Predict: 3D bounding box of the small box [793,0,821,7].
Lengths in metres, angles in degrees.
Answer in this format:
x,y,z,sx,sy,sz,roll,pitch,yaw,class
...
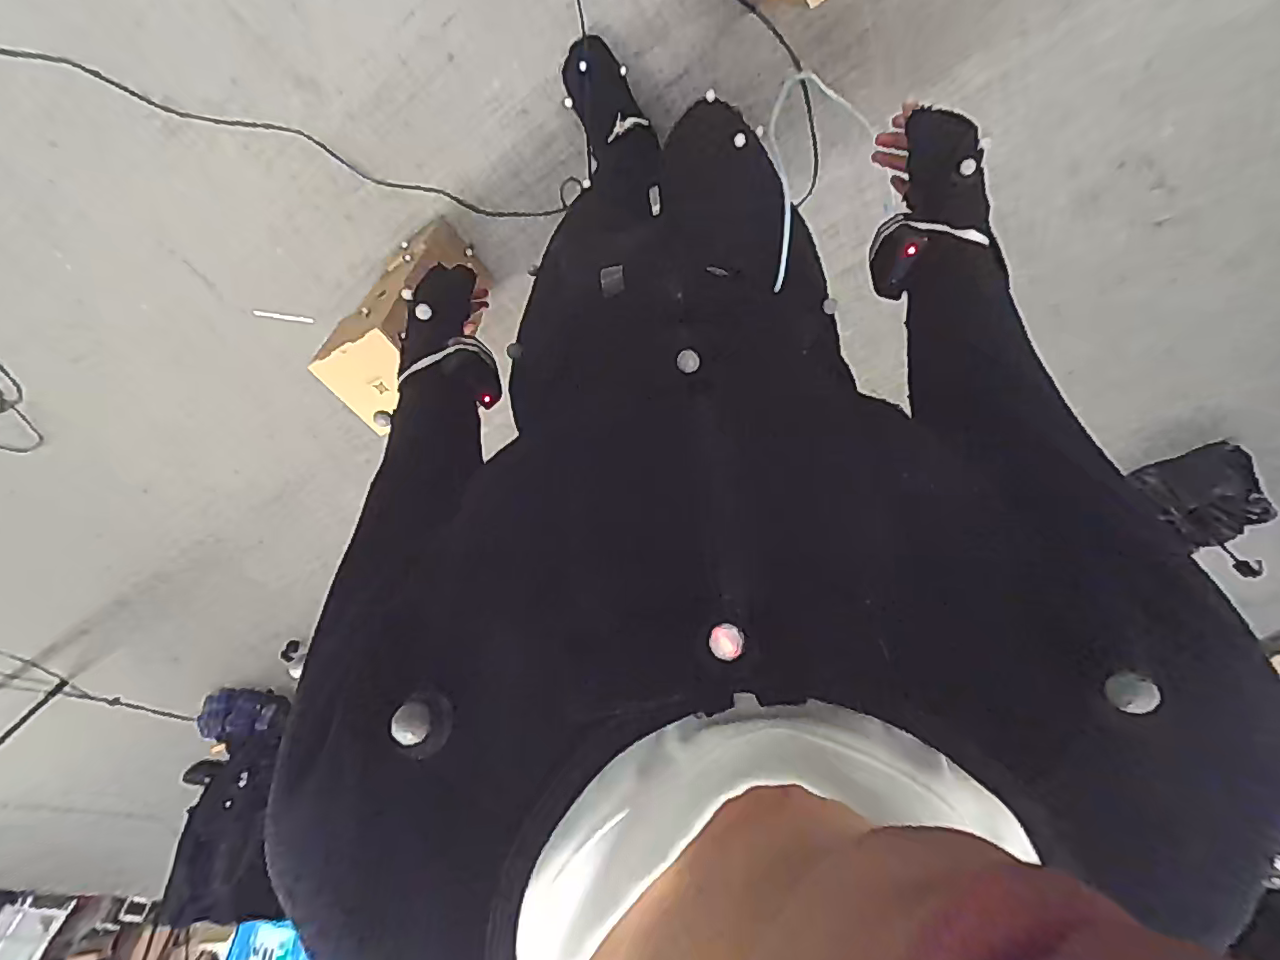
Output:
x,y,z,sx,sy,sz,roll,pitch,yaw,class
0.246,-0.792,0.729,0.168,0.176,0.179,-28,130,23,small box

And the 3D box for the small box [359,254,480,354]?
x,y,z,sx,sy,sz,roll,pitch,yaw,class
-0.465,-0.345,1.135,0.168,0.176,0.179,-24,132,20,small box

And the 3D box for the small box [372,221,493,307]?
x,y,z,sx,sy,sz,roll,pitch,yaw,class
-0.469,-0.468,1.249,0.168,0.176,0.179,-25,129,24,small box

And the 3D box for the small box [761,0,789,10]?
x,y,z,sx,sy,sz,roll,pitch,yaw,class
0.233,-0.901,0.852,0.168,0.176,0.179,-28,130,22,small box

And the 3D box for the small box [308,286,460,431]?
x,y,z,sx,sy,sz,roll,pitch,yaw,class
-0.468,-0.229,1.021,0.168,0.176,0.179,-20,132,17,small box
